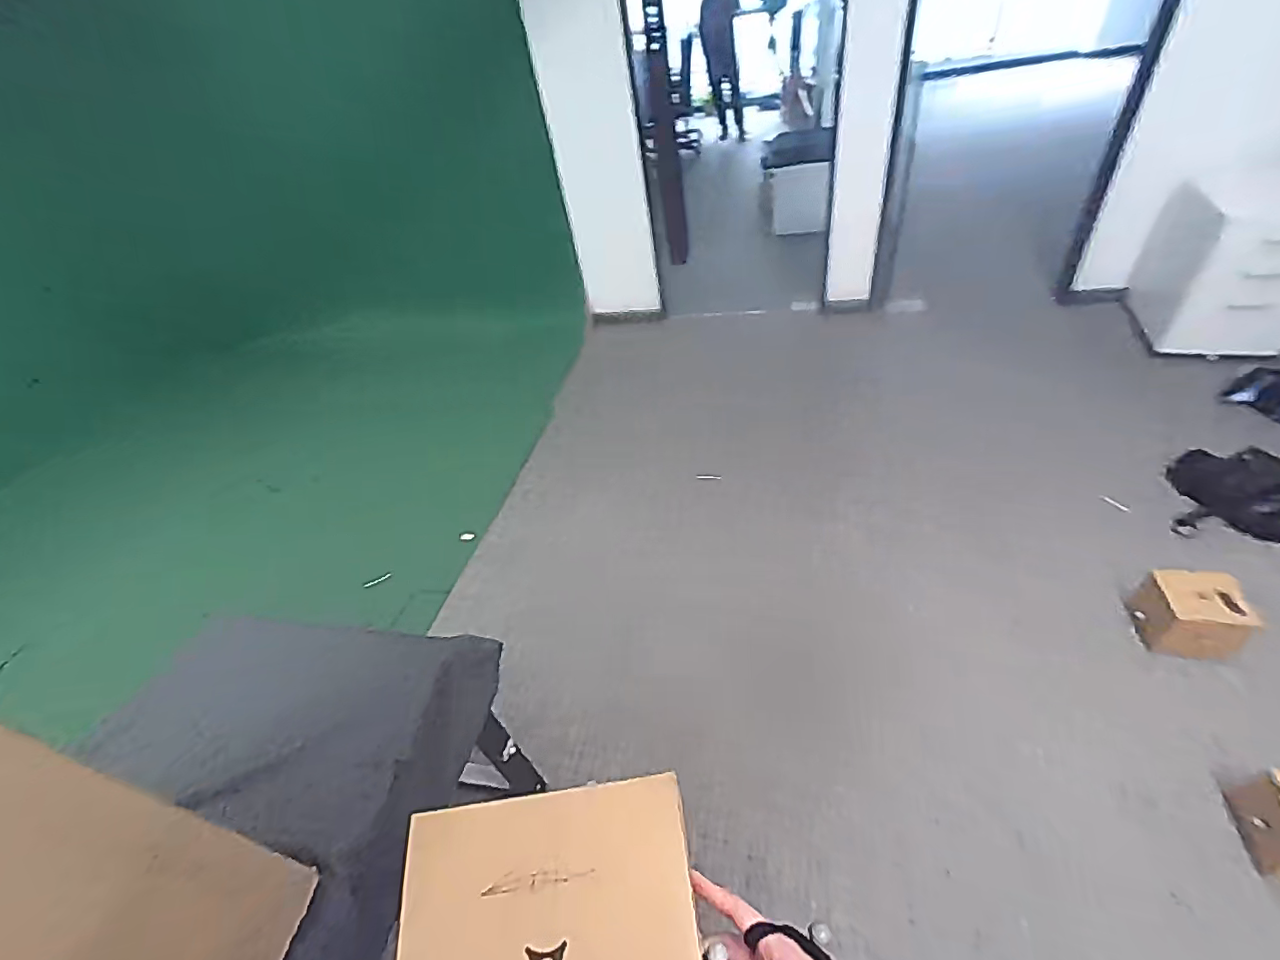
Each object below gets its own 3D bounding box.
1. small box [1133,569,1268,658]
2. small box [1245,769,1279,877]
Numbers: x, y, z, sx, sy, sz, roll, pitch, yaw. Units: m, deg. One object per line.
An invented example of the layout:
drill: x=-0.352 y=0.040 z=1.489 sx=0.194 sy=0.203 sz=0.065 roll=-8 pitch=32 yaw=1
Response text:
small box: x=1.501 y=0.362 z=1.463 sx=0.179 sy=0.176 sz=0.168 roll=0 pitch=42 yaw=17
small box: x=1.398 y=0.717 z=1.093 sx=0.179 sy=0.176 sz=0.168 roll=3 pitch=43 yaw=19
